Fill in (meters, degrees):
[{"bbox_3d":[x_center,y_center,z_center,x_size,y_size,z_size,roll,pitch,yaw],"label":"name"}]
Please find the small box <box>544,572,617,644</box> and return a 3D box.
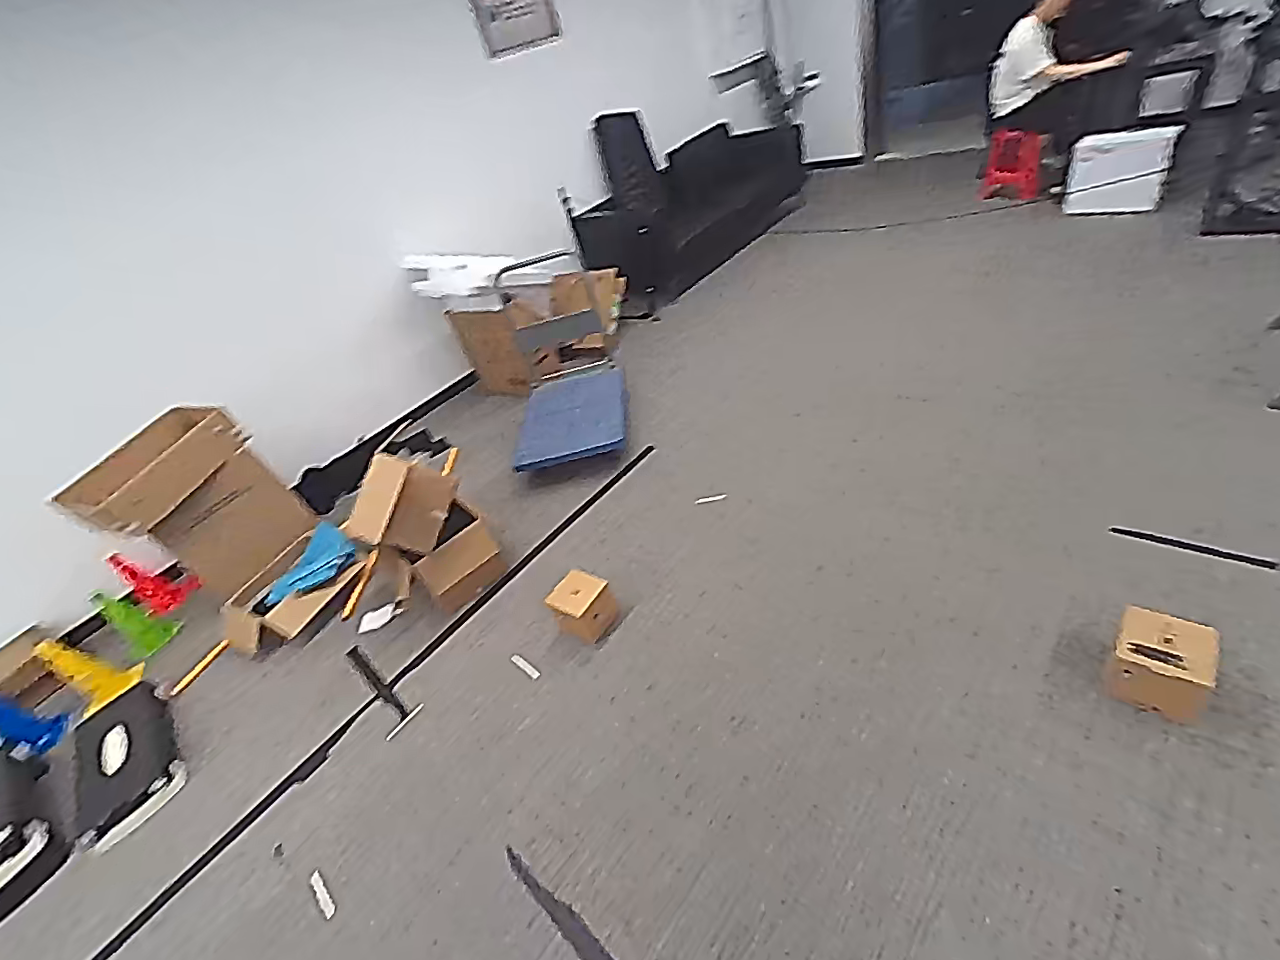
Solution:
[{"bbox_3d":[-0.207,0.466,1.959,0.179,0.176,0.168,12,46,36],"label":"small box"}]
